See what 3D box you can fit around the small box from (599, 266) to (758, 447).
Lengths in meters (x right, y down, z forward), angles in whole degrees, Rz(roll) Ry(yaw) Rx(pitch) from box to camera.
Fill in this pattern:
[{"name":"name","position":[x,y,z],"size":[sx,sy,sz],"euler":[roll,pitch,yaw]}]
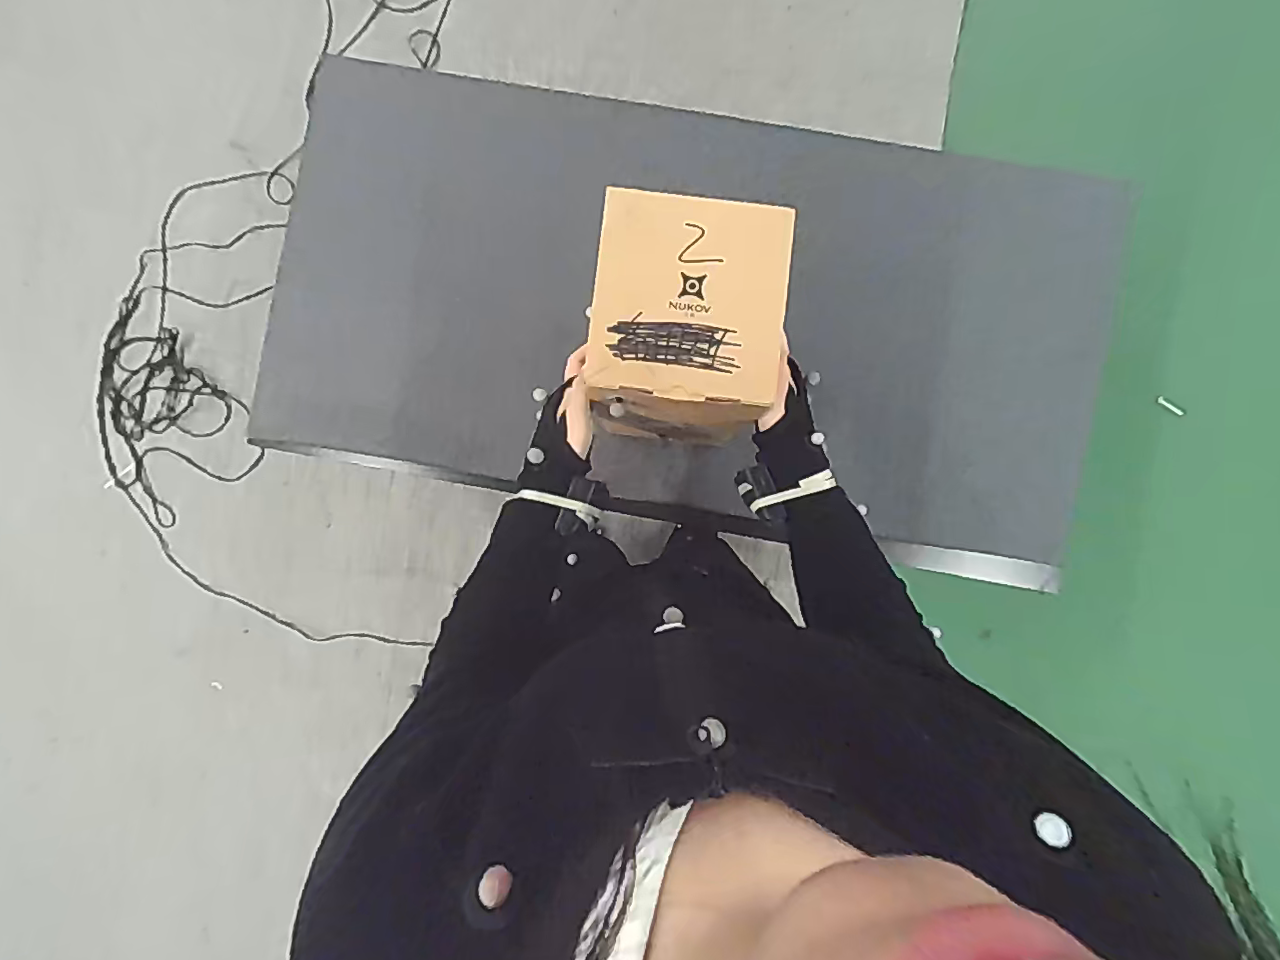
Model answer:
[{"name":"small box","position":[0.046,-0.146,0.694],"size":[0.168,0.176,0.179],"euler":[7,88,3]}]
